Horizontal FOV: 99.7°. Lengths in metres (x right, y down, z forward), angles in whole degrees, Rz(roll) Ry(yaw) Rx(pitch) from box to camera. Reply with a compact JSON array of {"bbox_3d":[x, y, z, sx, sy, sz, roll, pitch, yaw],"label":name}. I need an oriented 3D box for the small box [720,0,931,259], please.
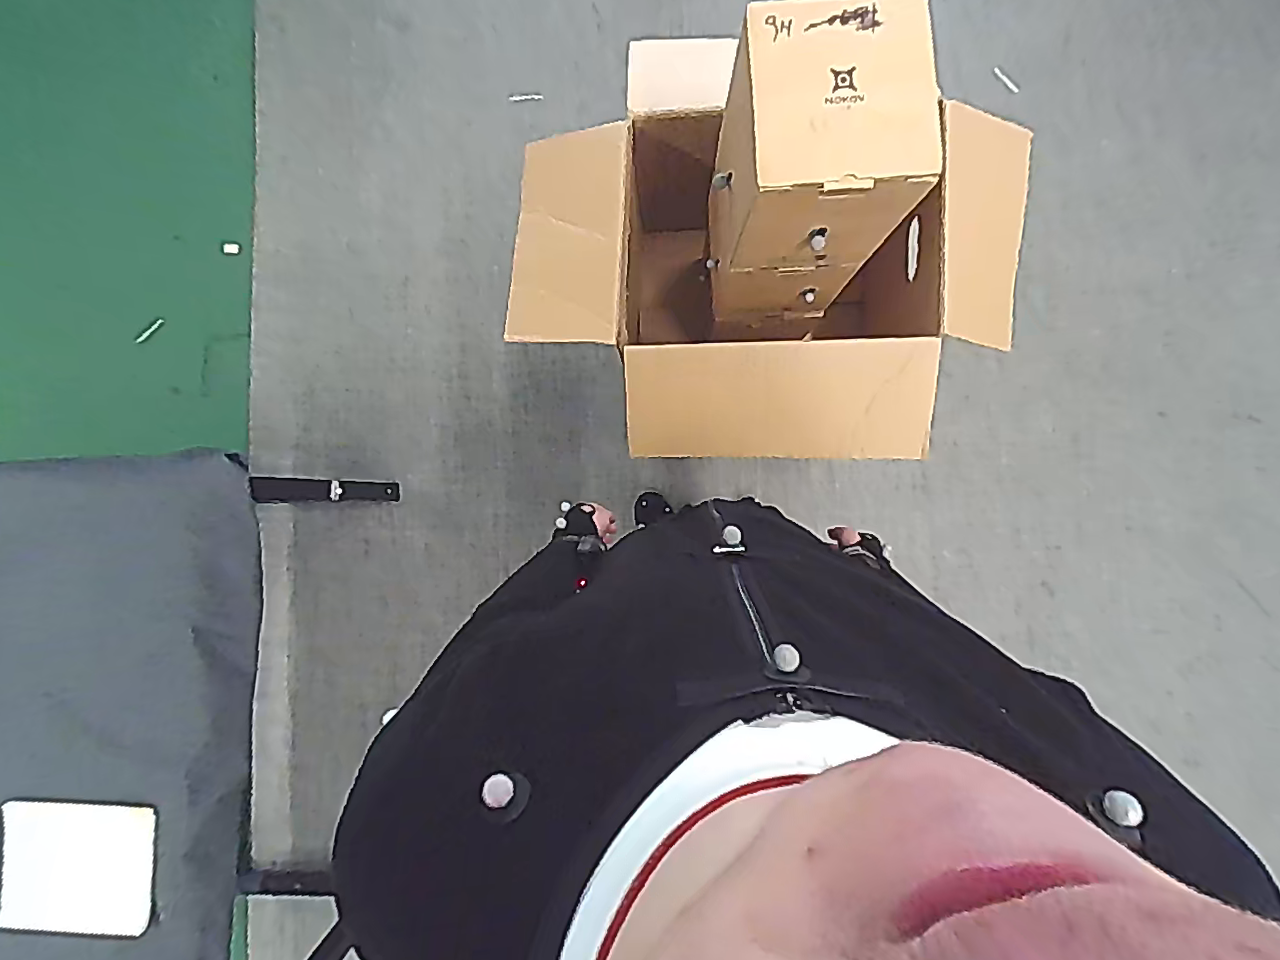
[{"bbox_3d":[0.179,-0.347,0.568,0.168,0.176,0.179,-3,88,0],"label":"small box"}]
